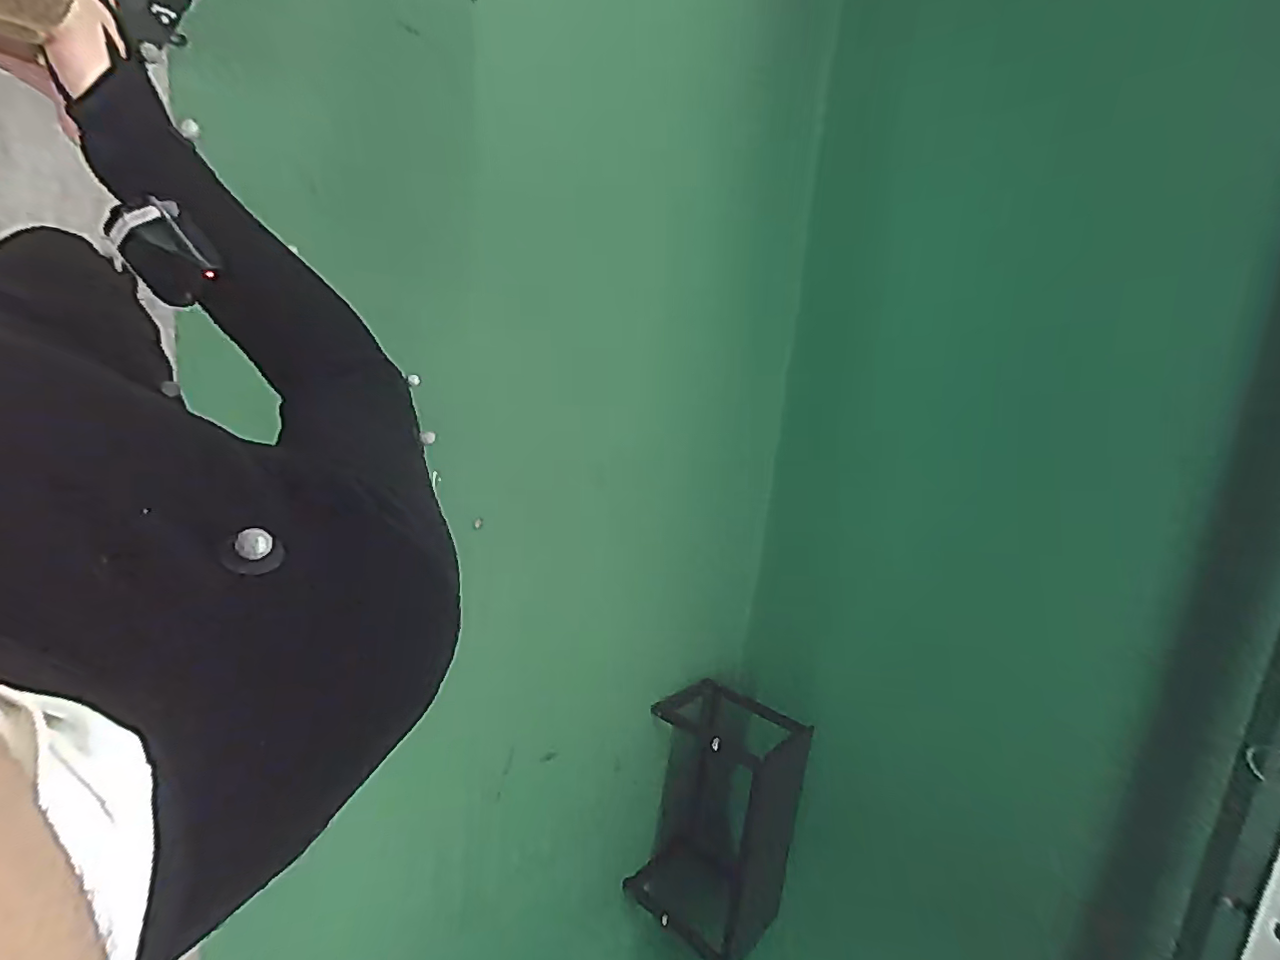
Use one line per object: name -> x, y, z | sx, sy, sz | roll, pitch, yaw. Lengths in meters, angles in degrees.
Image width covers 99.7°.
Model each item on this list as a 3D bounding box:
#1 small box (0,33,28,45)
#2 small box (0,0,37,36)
small box -> -0.564, -0.457, 0.385 | 0.168, 0.176, 0.179 | -3, 114, -49
small box -> -0.451, -0.384, 0.290 | 0.168, 0.176, 0.179 | -6, 115, -48
